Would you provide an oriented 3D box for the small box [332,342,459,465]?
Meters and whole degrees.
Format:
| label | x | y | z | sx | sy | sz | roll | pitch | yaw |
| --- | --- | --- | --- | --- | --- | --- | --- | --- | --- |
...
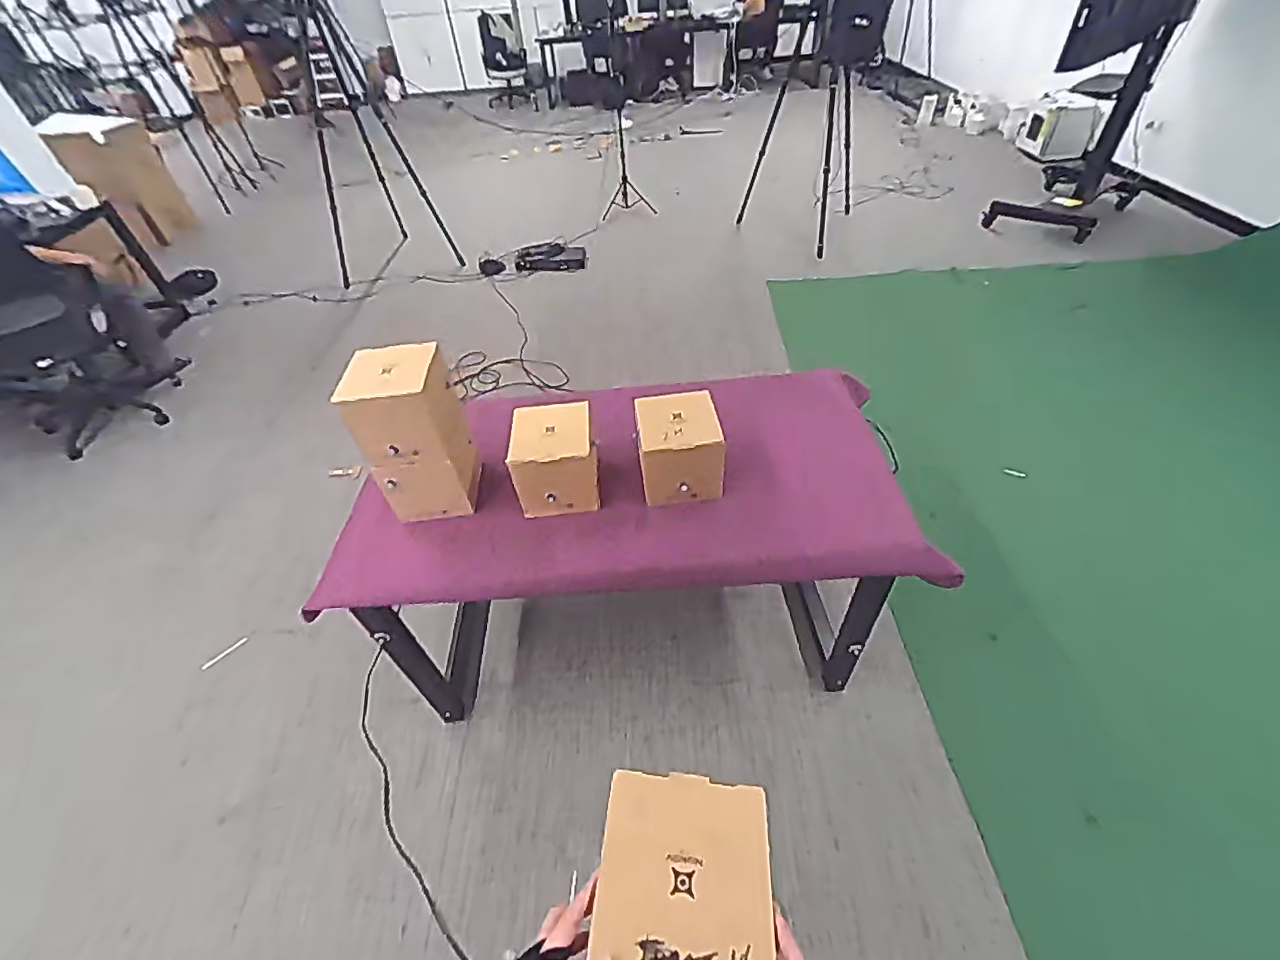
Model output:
| label | x | y | z | sx | sy | sz | roll | pitch | yaw |
| --- | --- | --- | --- | --- | --- | --- | --- | --- | --- |
| small box | -0.471 | -0.152 | 1.076 | 0.168 | 0.176 | 0.179 | -6 | 45 | -1 |

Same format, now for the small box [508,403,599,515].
| label | x | y | z | sx | sy | sz | roll | pitch | yaw |
| --- | --- | --- | --- | --- | --- | --- | --- | --- | --- |
| small box | -0.182 | -0.046 | 1.182 | 0.168 | 0.176 | 0.179 | -6 | 46 | -1 |

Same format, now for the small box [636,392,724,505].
| label | x | y | z | sx | sy | sz | roll | pitch | yaw |
| --- | --- | --- | --- | --- | --- | --- | --- | --- | --- |
| small box | 0.082 | -0.068 | 1.179 | 0.168 | 0.176 | 0.179 | -7 | 46 | -1 |

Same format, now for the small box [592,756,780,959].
| label | x | y | z | sx | sy | sz | roll | pitch | yaw |
| --- | --- | --- | --- | --- | --- | --- | --- | --- | --- |
| small box | 0.045 | 0.428 | 0.572 | 0.168 | 0.176 | 0.179 | 5 | 38 | 5 |
